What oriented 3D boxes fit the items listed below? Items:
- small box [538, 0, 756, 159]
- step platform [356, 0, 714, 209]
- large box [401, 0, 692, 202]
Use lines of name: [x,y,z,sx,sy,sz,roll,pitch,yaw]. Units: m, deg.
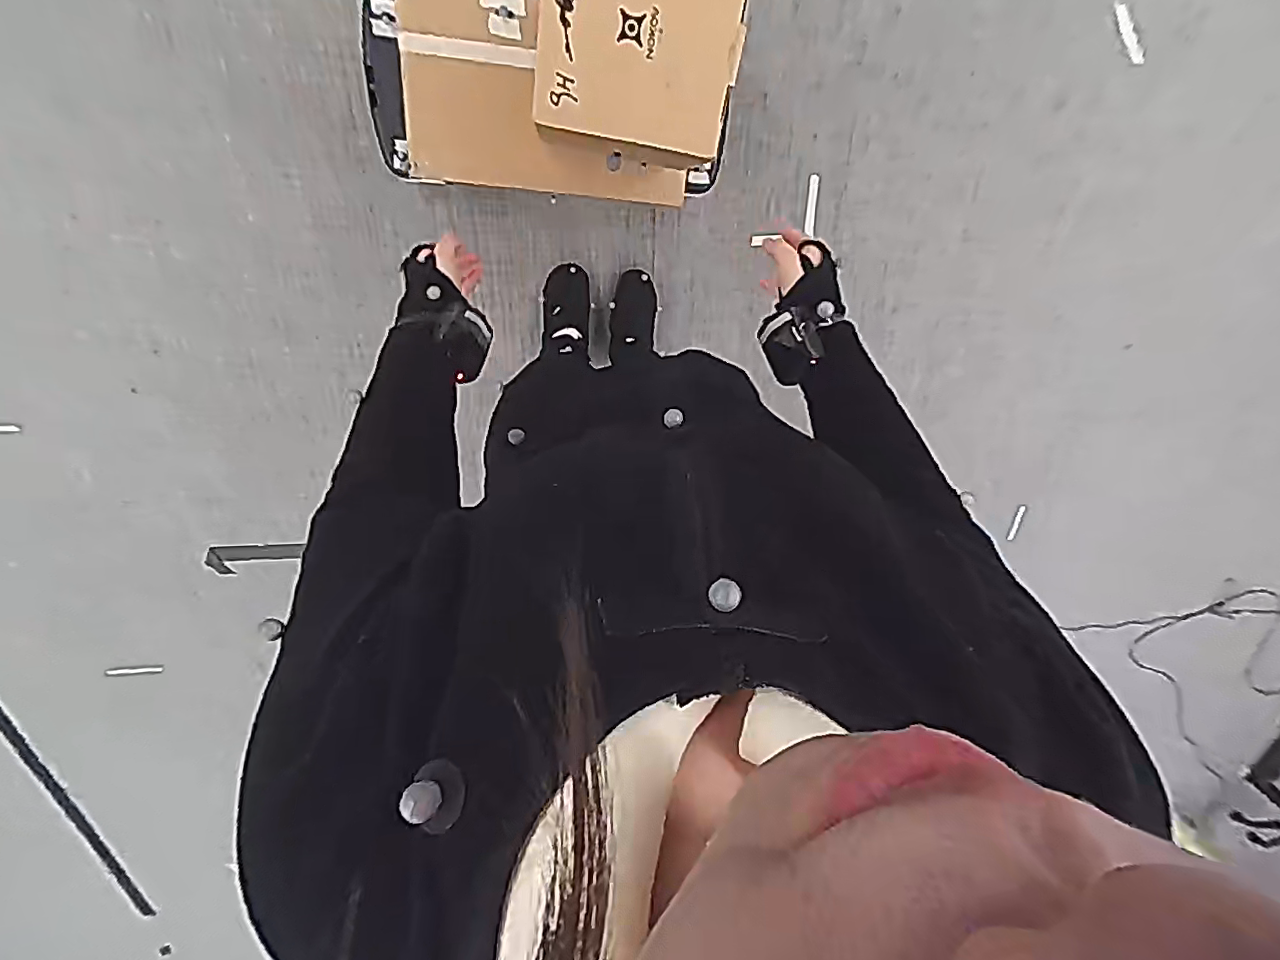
small box: [-0.003,-0.423,0.524,0.179,0.176,0.168,5,115,-11]
step platform: [-0.179,-0.739,1.070,0.684,0.204,0.286,4,116,-9]
large box: [-0.125,-0.634,0.861,0.408,0.320,0.320,2,116,-7]
